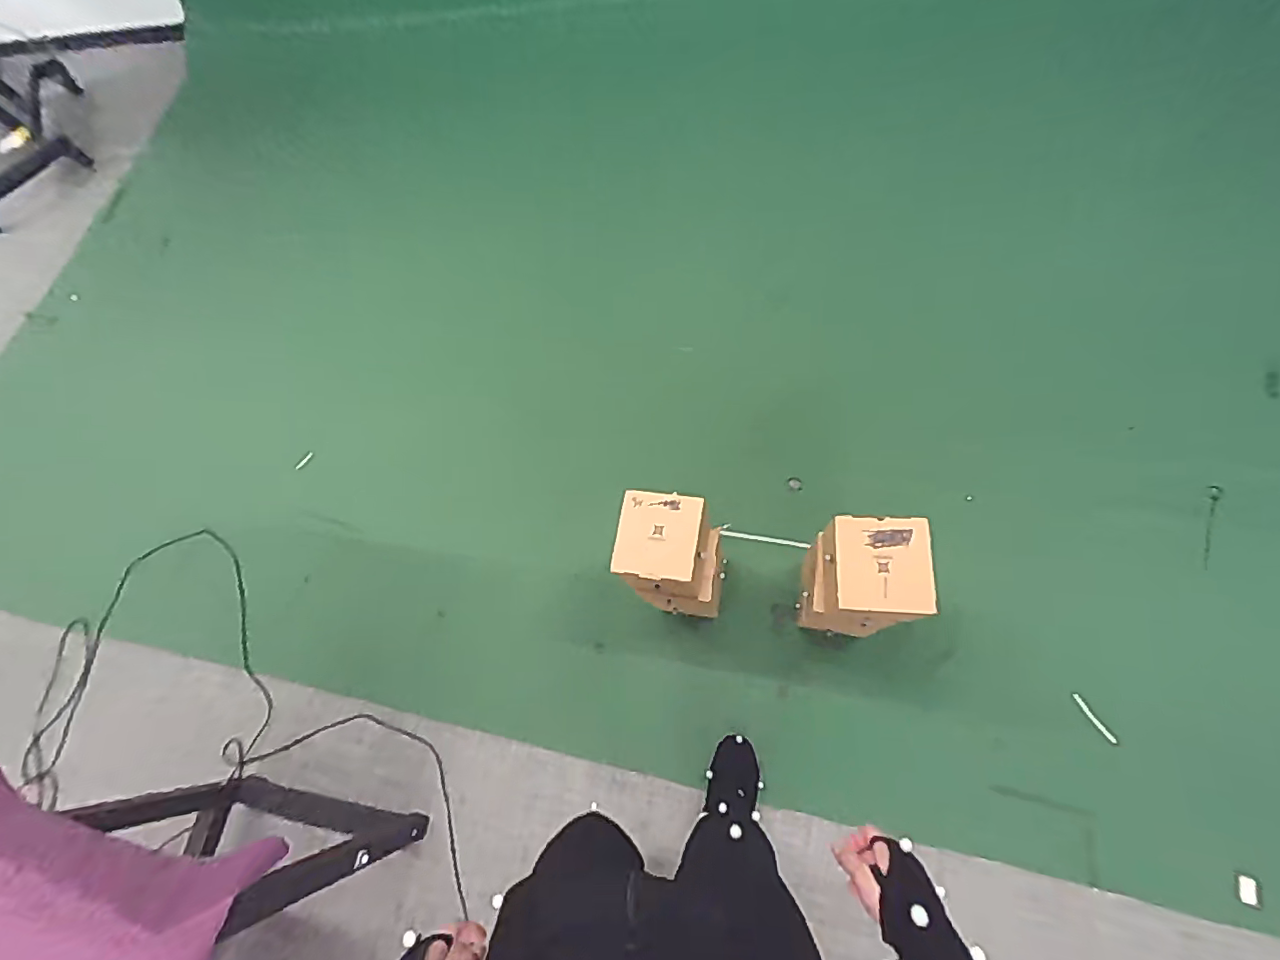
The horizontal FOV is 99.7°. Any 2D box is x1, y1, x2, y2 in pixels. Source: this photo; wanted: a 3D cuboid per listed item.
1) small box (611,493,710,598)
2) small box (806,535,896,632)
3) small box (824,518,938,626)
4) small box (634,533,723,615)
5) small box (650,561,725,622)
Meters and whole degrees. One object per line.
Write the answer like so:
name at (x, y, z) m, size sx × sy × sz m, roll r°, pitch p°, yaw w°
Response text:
small box at (0.051, 0.144, 1.138) m, size 0.168 × 0.176 × 0.179 m, roll 6°, pitch 71°, yaw 14°
small box at (0.467, 0.235, 1.199) m, size 0.168 × 0.176 × 0.179 m, roll 6°, pitch 71°, yaw 12°
small box at (0.453, 0.182, 1.045) m, size 0.168 × 0.176 × 0.179 m, roll 1°, pitch 72°, yaw 11°
small box at (0.098, 0.218, 1.279) m, size 0.179 × 0.176 × 0.168 m, roll 6°, pitch 70°, yaw 13°
small box at (0.131, 0.272, 1.430) m, size 0.168 × 0.176 × 0.179 m, roll 5°, pitch 70°, yaw 14°
